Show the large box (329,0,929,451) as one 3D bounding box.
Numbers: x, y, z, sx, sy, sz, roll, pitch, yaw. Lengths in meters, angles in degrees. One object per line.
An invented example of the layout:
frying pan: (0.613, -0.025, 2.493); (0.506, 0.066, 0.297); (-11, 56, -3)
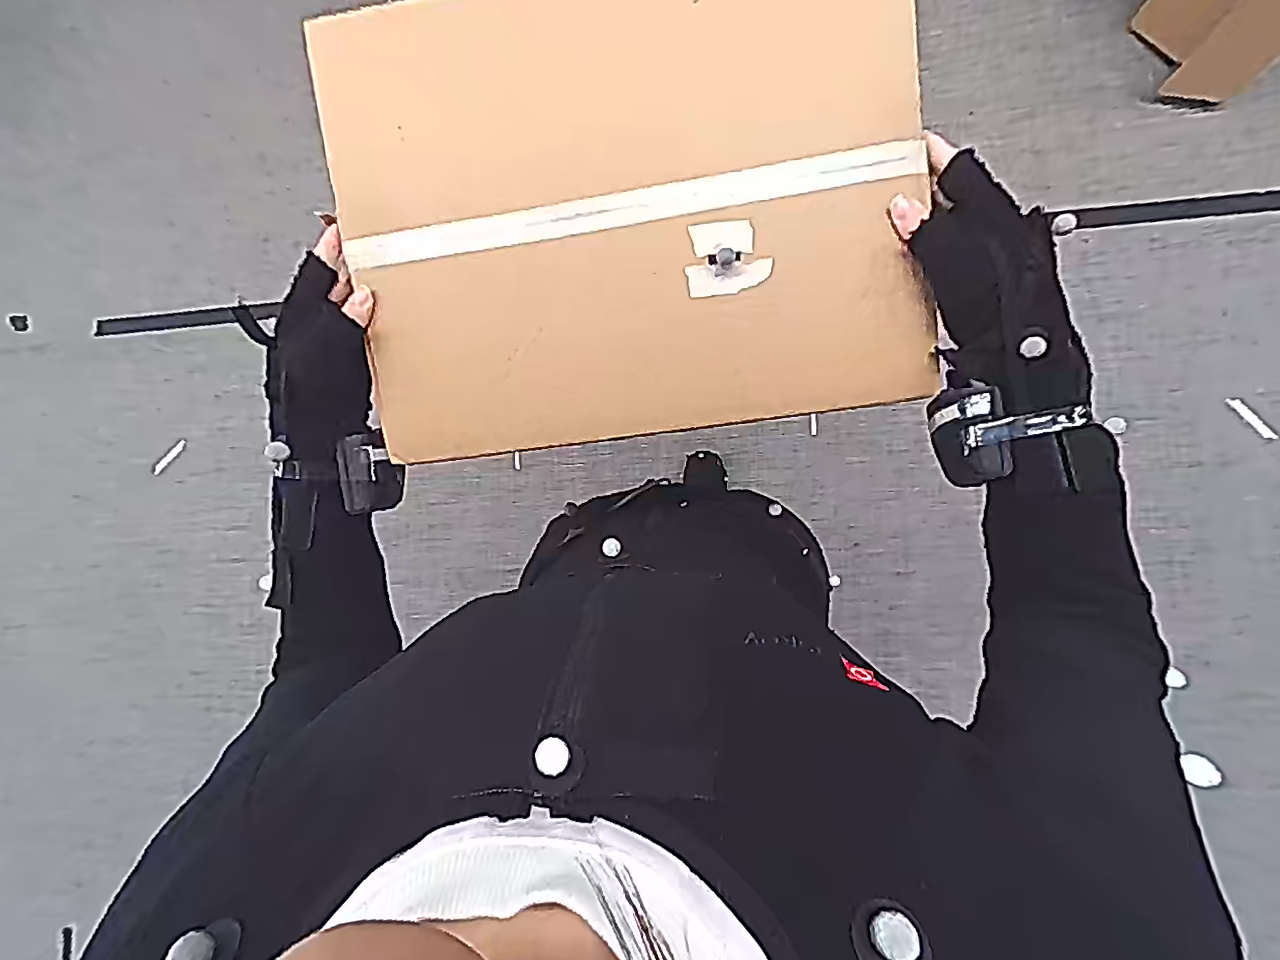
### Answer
large box: (0.001, -0.220, 0.535); (0.408, 0.320, 0.320); (-7, 98, 5)
